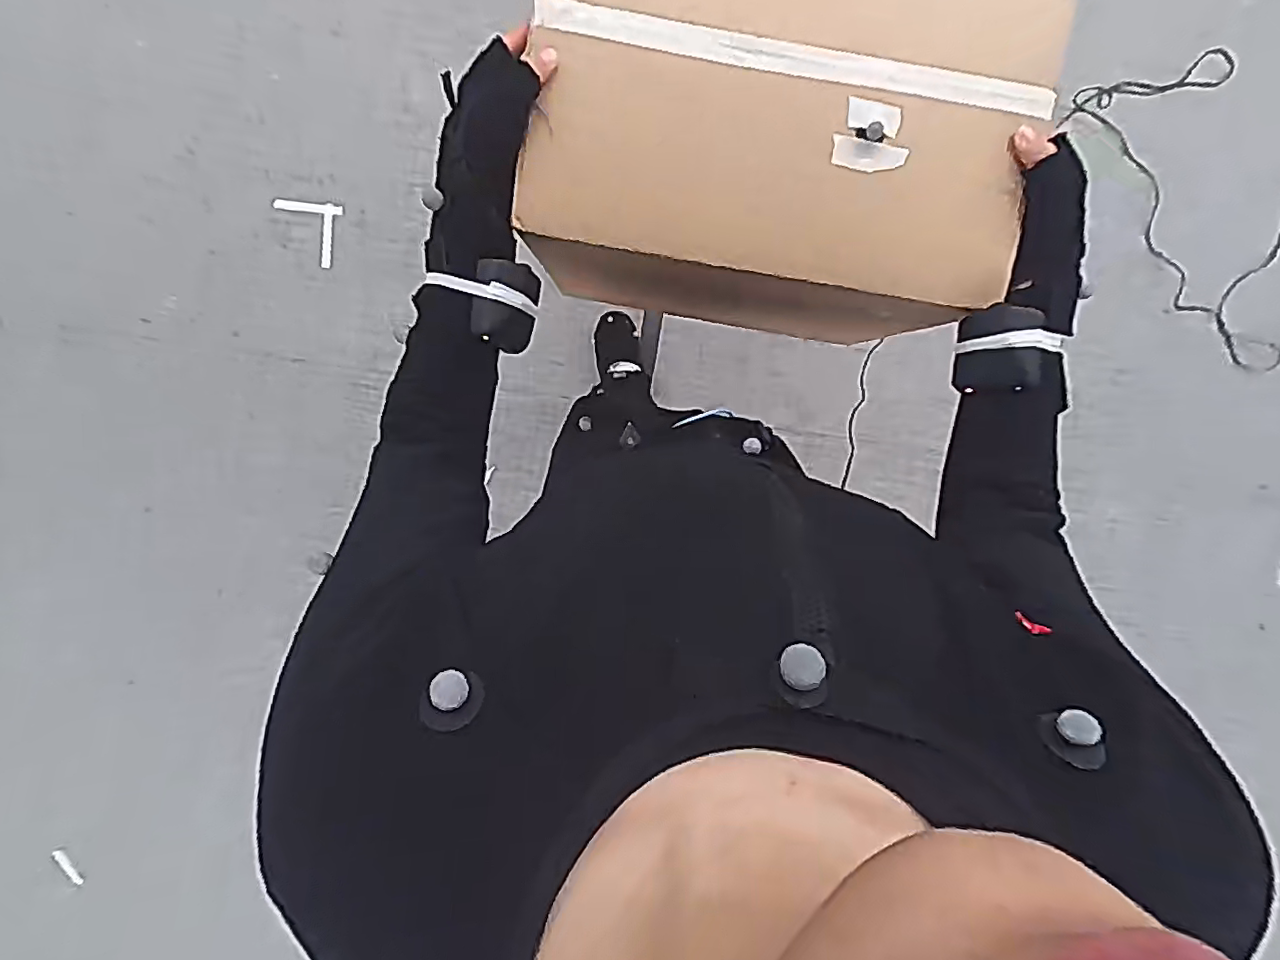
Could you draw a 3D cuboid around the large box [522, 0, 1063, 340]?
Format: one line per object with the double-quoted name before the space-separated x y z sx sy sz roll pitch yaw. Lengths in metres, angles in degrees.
"large box" 0.115 -0.345 0.571 0.408 0.320 0.320 9 100 -3
